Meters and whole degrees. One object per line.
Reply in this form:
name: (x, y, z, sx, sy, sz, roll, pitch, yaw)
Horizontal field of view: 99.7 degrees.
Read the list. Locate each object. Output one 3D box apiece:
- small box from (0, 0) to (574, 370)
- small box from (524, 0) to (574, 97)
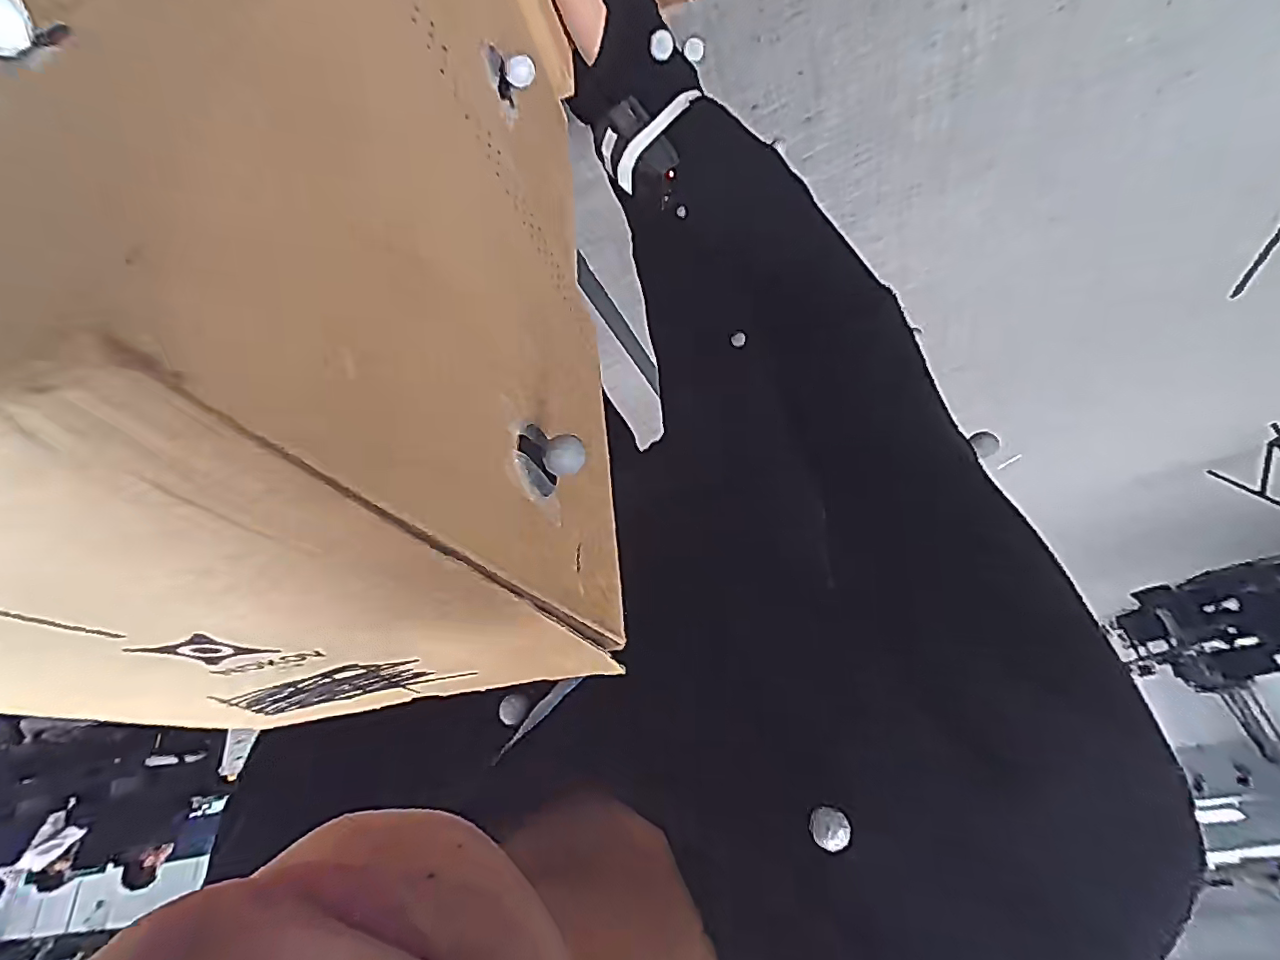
small box: (-0.138, -0.185, 0.250, 0.168, 0.176, 0.179, -13, 150, 10)
small box: (-0.152, -0.331, 0.321, 0.168, 0.176, 0.179, -14, 151, 13)
